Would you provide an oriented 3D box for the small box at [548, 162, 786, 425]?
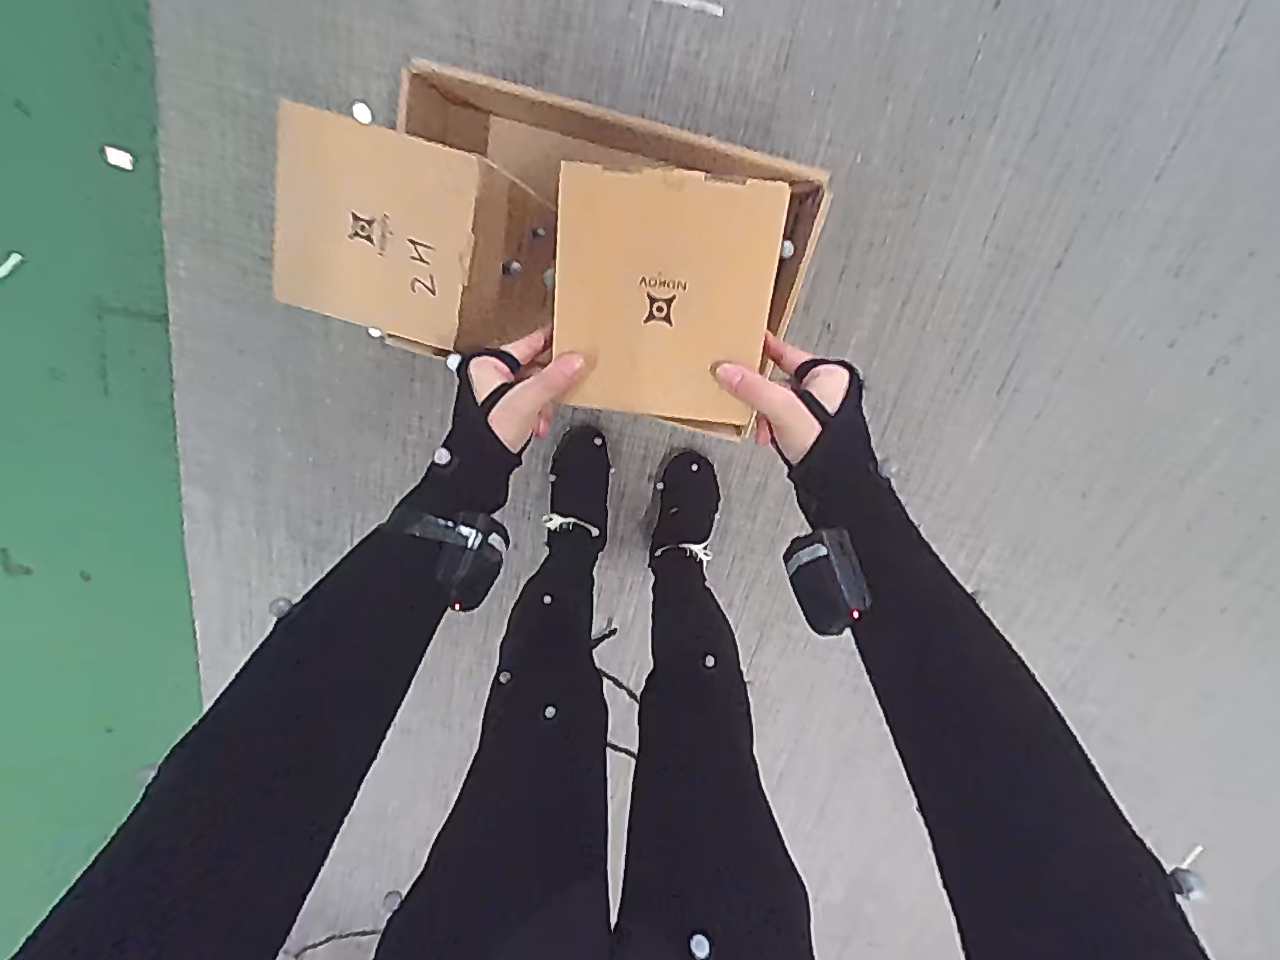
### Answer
[{"bbox_3d":[0.021,-0.160,0.477,0.168,0.176,0.179,6,110,3],"label":"small box"}]

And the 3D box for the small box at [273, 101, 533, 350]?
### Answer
[{"bbox_3d":[-0.227,-0.241,0.548,0.179,0.176,0.168,16,109,-2],"label":"small box"}]
